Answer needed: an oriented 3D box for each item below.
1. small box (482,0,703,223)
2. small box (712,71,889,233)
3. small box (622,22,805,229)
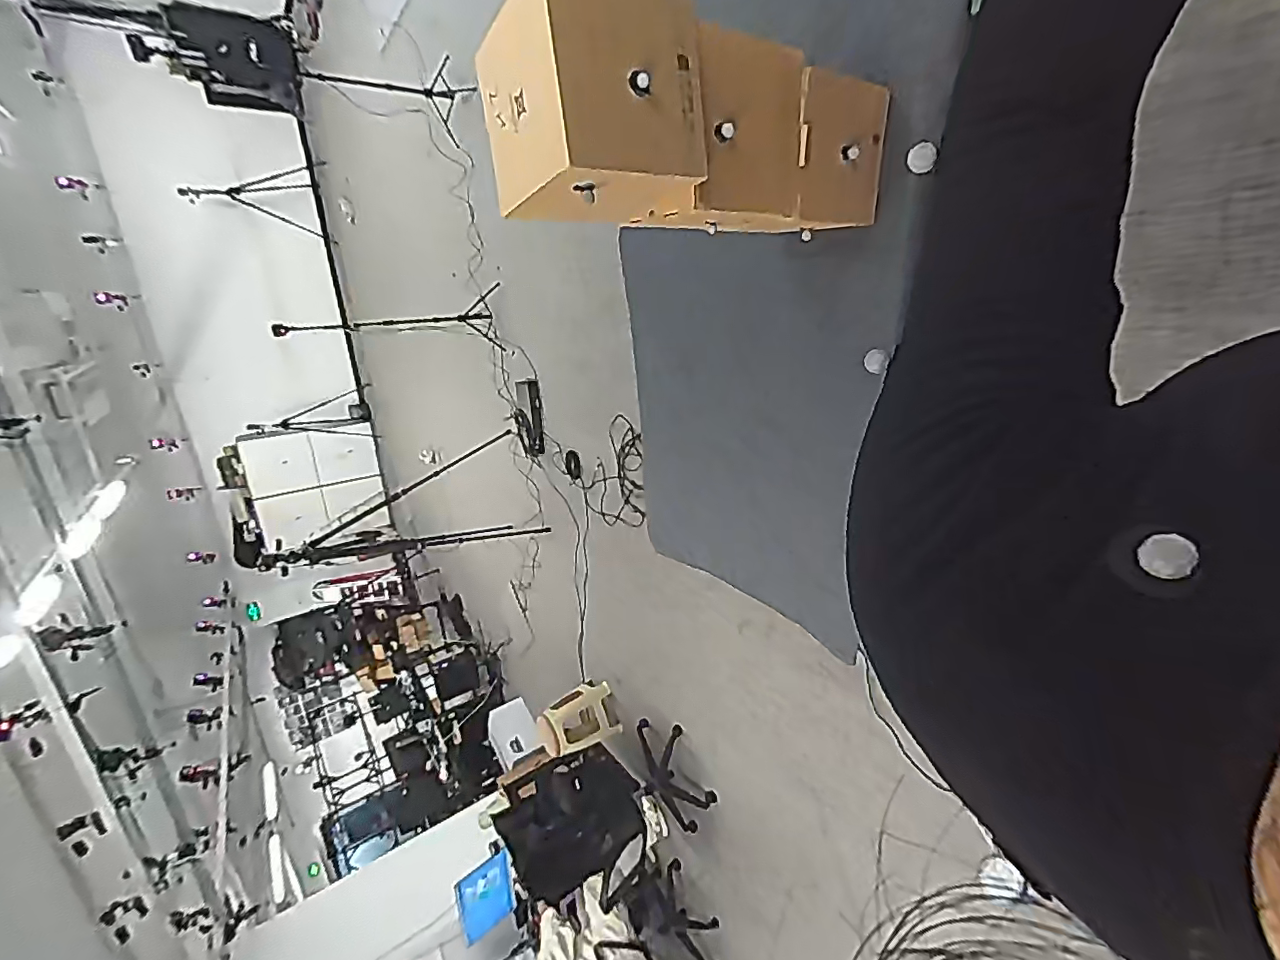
[{"bbox_3d":[-0.045,-0.383,0.575,0.179,0.176,0.168,12,113,56],"label":"small box"},{"bbox_3d":[0.220,-0.443,0.759,0.179,0.176,0.168,26,125,50],"label":"small box"},{"bbox_3d":[0.086,-0.416,0.671,0.168,0.176,0.179,24,124,52],"label":"small box"}]
